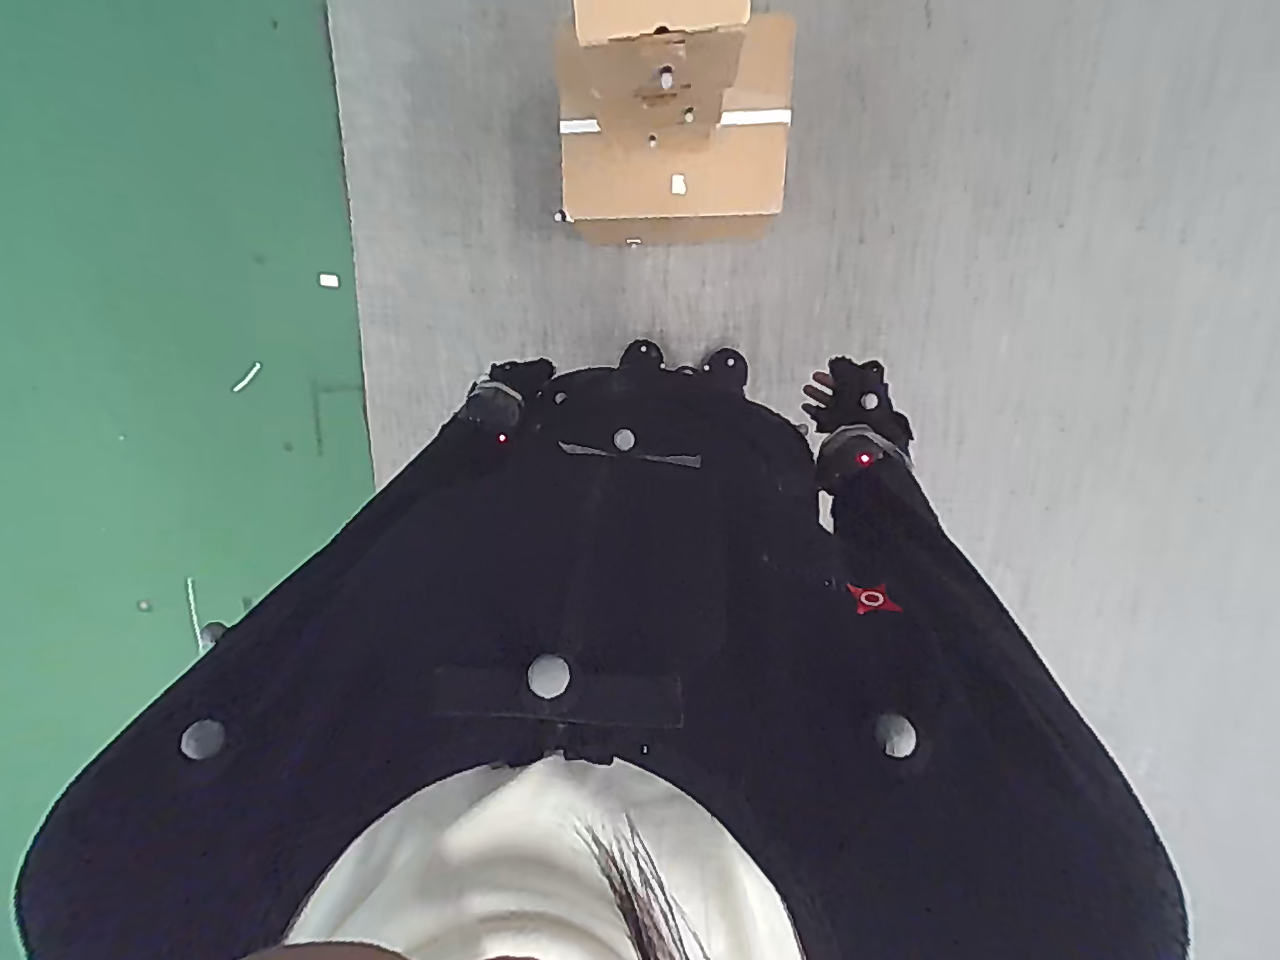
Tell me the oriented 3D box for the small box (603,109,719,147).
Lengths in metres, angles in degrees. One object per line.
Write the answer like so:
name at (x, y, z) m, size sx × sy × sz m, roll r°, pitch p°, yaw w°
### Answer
small box at (0.036, -0.645, 0.864) m, size 0.179 × 0.176 × 0.168 m, roll 1°, pitch 112°, yaw 6°

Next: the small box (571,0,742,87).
small box at (0.022, -0.532, 0.559) m, size 0.168 × 0.176 × 0.179 m, roll 0°, pitch 112°, yaw 6°

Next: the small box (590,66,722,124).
small box at (0.026, -0.589, 0.712) m, size 0.168 × 0.176 × 0.179 m, roll -1°, pitch 110°, yaw 6°
